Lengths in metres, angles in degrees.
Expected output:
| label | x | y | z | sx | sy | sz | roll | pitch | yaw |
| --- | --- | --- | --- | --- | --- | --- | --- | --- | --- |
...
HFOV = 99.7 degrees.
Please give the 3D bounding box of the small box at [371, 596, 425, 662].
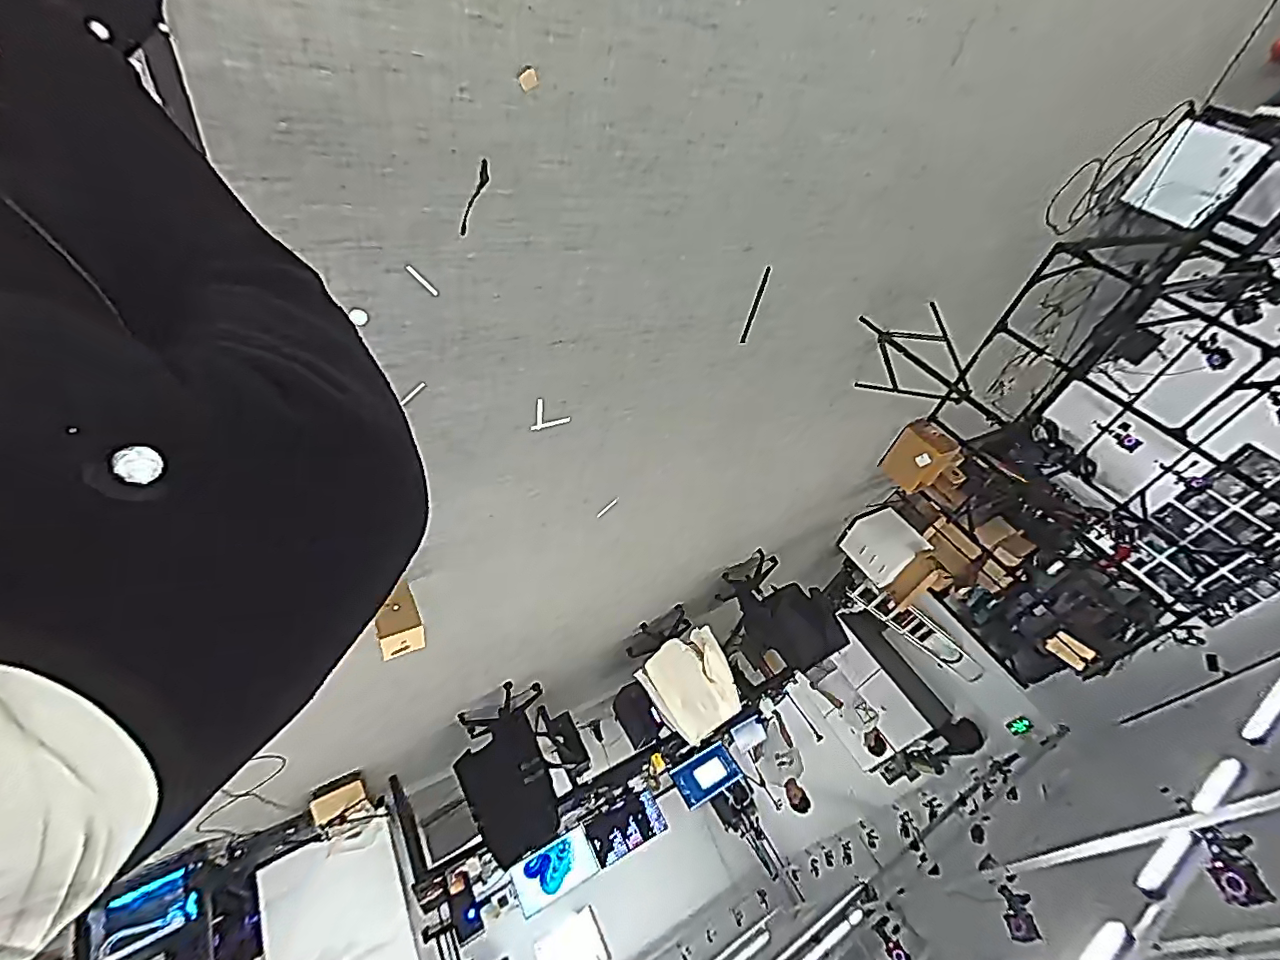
| label | x | y | z | sx | sy | sz | roll | pitch | yaw |
| --- | --- | --- | --- | --- | --- | --- | --- | --- | --- |
| small box | -1.001 | 0.613 | 2.237 | 0.168 | 0.176 | 0.179 | -15 | 141 | -30 |
